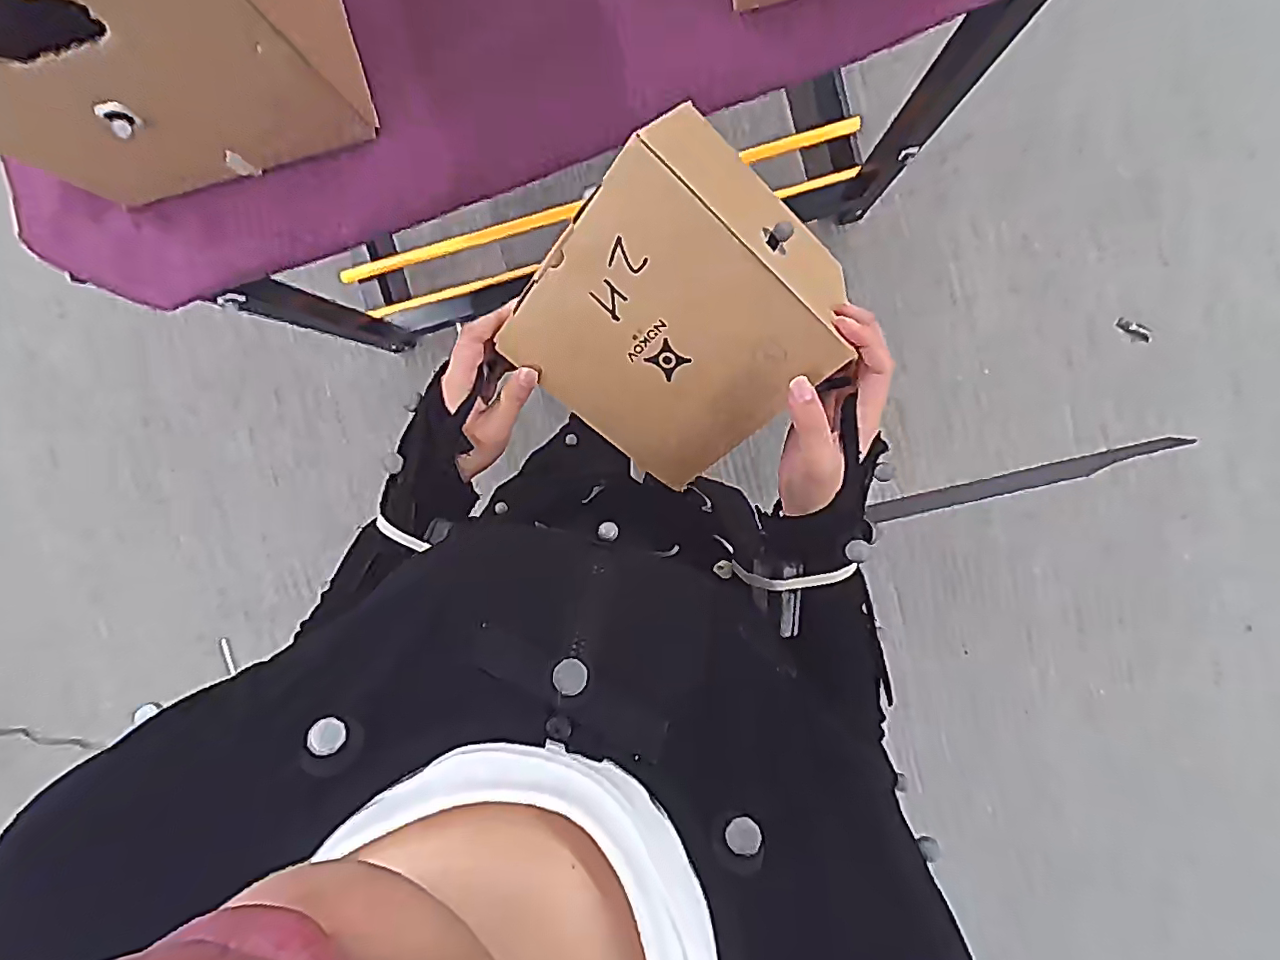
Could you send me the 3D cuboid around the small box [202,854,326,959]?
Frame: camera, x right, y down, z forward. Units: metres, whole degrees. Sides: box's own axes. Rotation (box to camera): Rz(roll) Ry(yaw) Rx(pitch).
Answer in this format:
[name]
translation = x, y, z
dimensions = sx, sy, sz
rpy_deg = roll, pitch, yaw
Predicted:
[small box]
translation = -0.977, 1.133, 1.419
dimensions = 0.179, 0.176, 0.168
rpy_deg = -19, 95, 4
